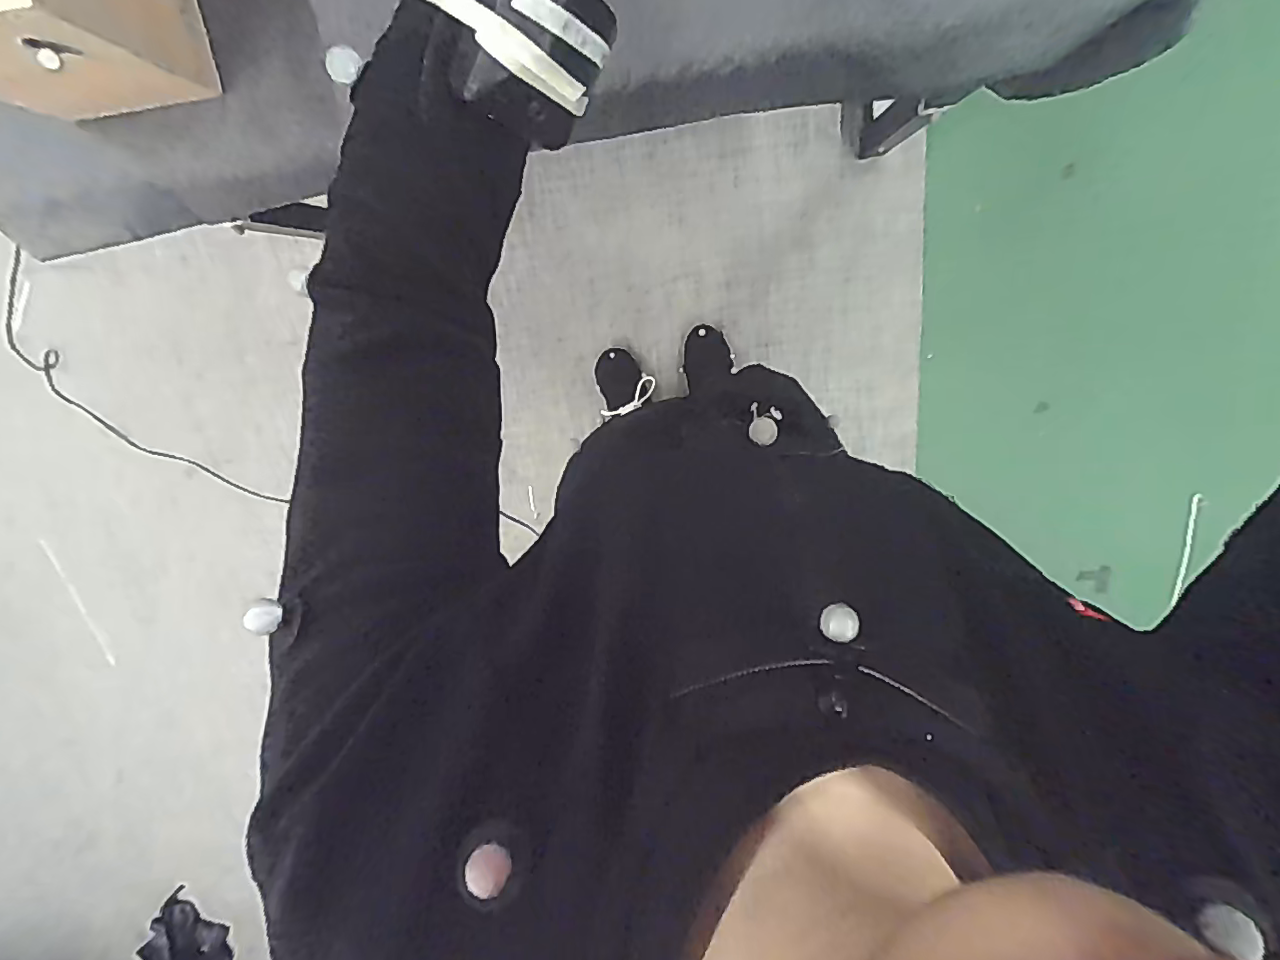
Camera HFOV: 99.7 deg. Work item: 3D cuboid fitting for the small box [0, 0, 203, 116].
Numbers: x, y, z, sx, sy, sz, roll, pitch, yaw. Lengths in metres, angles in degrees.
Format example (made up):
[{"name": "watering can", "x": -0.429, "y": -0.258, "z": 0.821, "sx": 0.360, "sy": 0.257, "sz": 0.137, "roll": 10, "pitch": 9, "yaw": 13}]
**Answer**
[{"name": "small box", "x": -0.509, "y": -0.425, "z": 0.440, "sx": 0.179, "sy": 0.176, "sz": 0.168, "roll": -5, "pitch": 107, "yaw": 6}]
